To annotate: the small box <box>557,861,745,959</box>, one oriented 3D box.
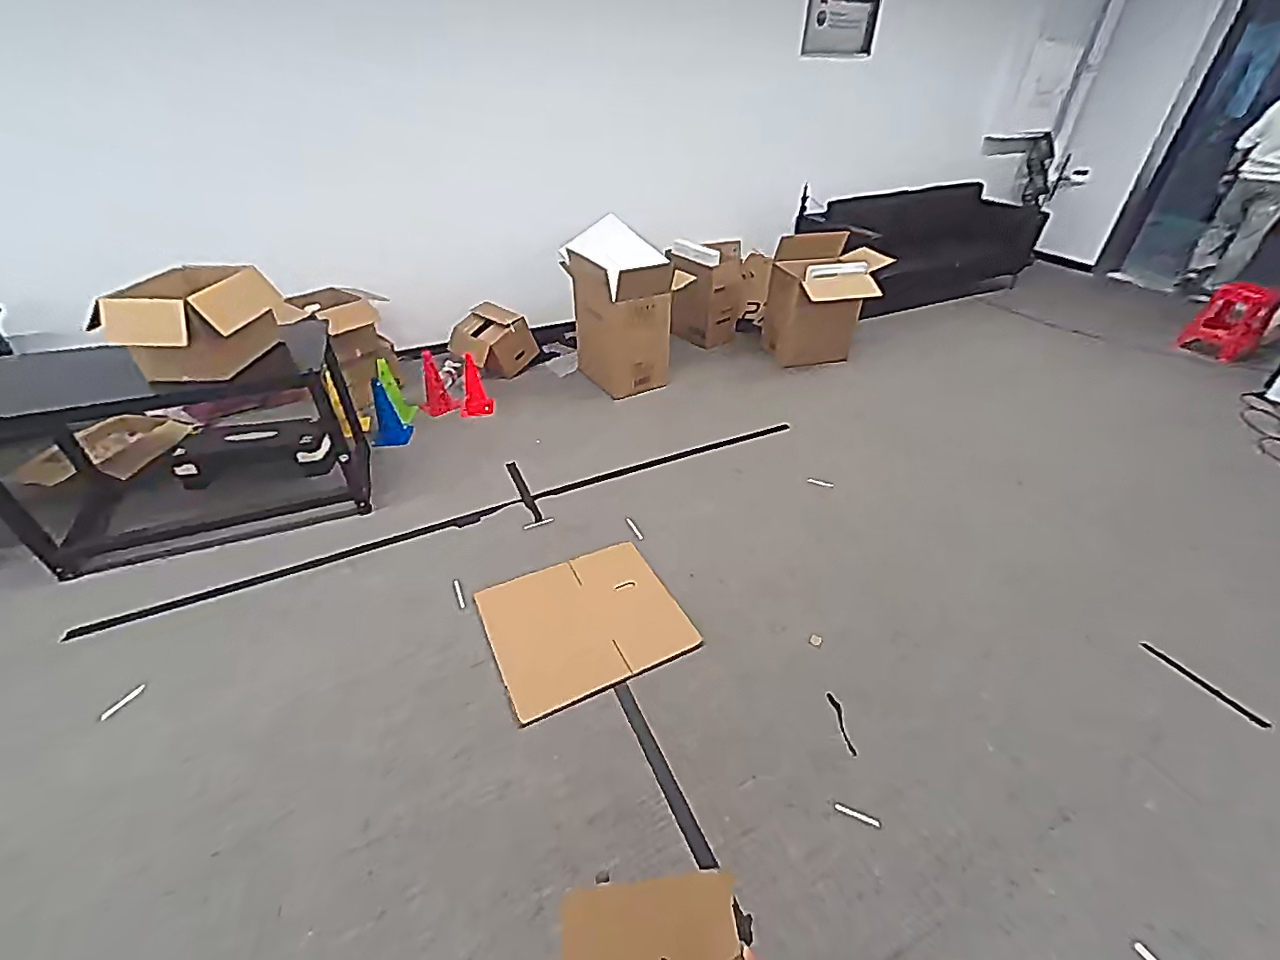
[{"bbox_3d":[0.009,0.514,0.549,0.179,0.176,0.168,-2,43,-7],"label":"small box"}]
